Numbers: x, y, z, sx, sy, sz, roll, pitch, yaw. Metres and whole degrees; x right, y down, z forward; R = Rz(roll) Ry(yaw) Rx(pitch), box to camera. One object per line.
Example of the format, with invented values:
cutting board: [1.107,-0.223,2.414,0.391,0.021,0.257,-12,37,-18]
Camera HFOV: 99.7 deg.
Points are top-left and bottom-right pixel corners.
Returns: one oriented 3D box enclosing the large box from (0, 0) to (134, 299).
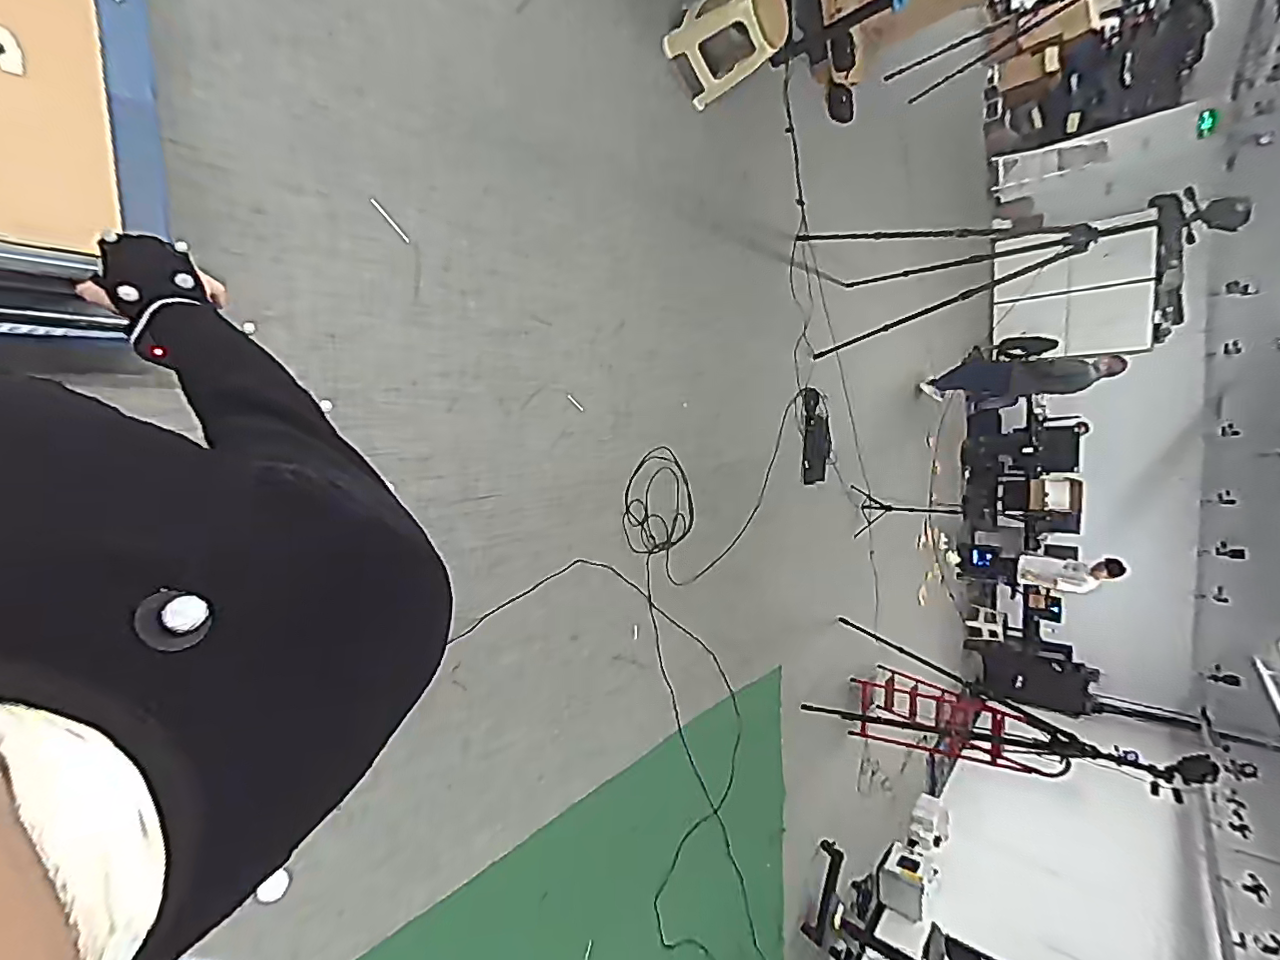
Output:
large box: [-1.033,-0.528,0.836,0.320,0.320,0.408,-9,97,-47]
